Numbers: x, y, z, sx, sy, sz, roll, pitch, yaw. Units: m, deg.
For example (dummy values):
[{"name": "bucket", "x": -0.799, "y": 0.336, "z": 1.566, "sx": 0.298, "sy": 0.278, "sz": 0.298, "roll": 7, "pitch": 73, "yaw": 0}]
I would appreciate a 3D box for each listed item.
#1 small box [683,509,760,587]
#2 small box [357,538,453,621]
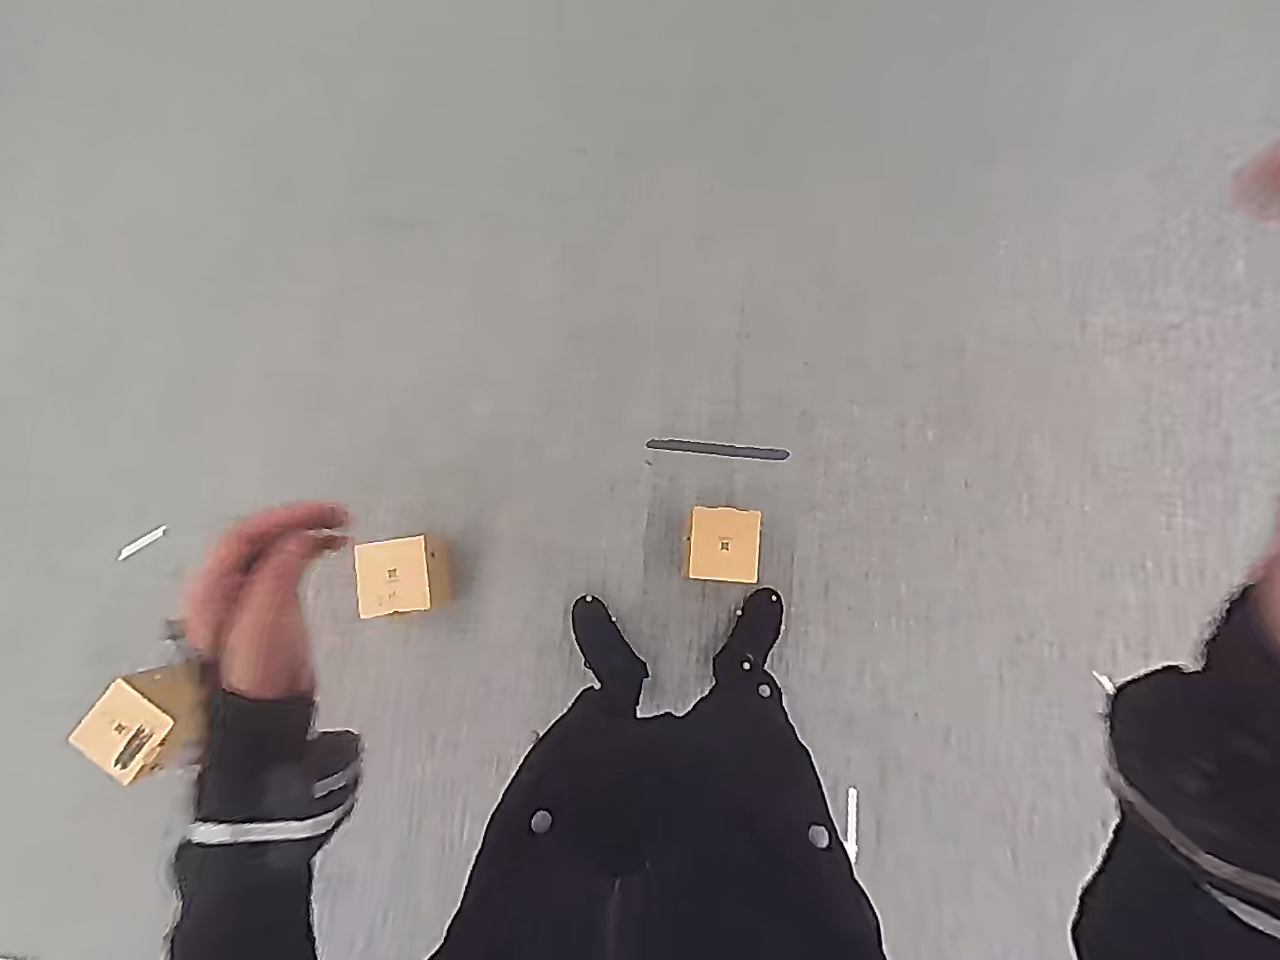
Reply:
[{"name": "small box", "x": 0.203, "y": 0.173, "z": 1.375, "sx": 0.168, "sy": 0.176, "sz": 0.179, "roll": 4, "pitch": 82, "yaw": 0}, {"name": "small box", "x": -0.580, "y": 0.246, "z": 1.347, "sx": 0.168, "sy": 0.176, "sz": 0.179, "roll": -8, "pitch": 83, "yaw": -2}]
